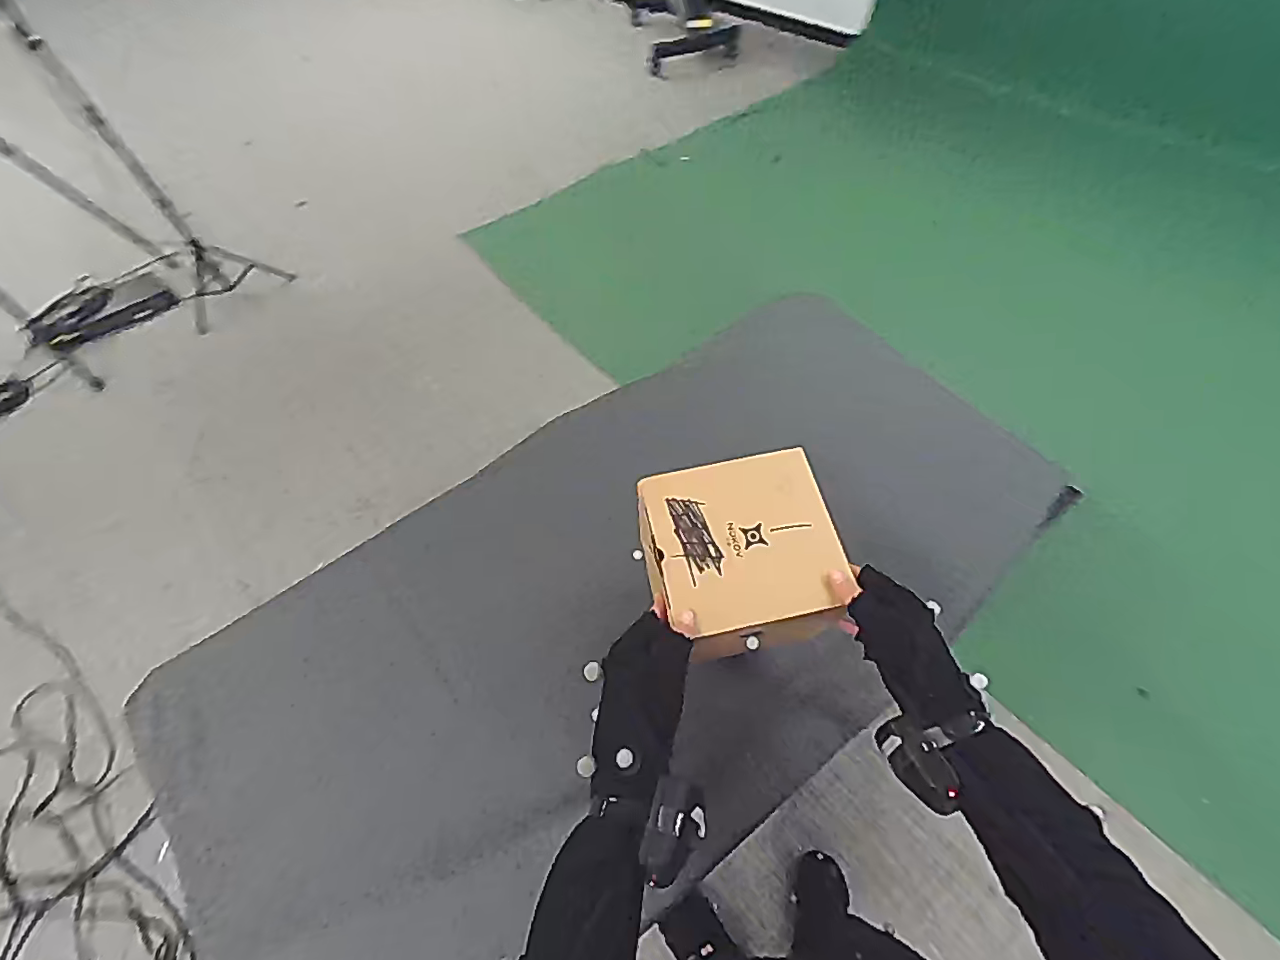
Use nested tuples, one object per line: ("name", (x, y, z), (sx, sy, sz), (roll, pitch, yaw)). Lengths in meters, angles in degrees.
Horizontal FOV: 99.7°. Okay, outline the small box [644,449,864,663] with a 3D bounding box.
("small box", (0.106, 0.091, 0.585), (0.179, 0.176, 0.168), (-11, 64, -4))
